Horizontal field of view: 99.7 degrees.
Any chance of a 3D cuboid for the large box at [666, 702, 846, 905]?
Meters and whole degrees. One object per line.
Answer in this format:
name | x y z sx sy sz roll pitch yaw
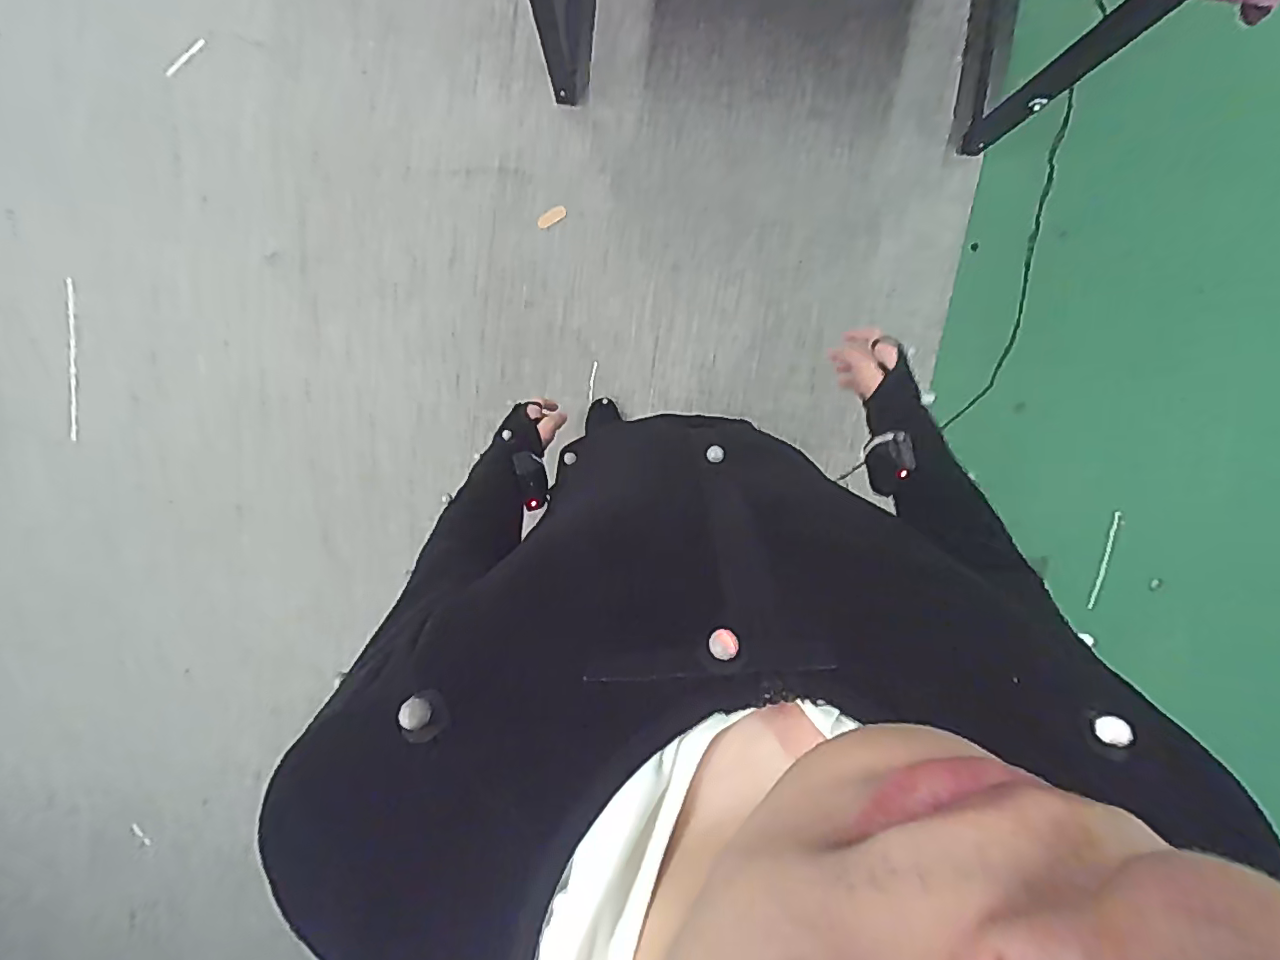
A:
large box | 0.328 0.953 1.630 0.408 0.320 0.320 -25 99 2
